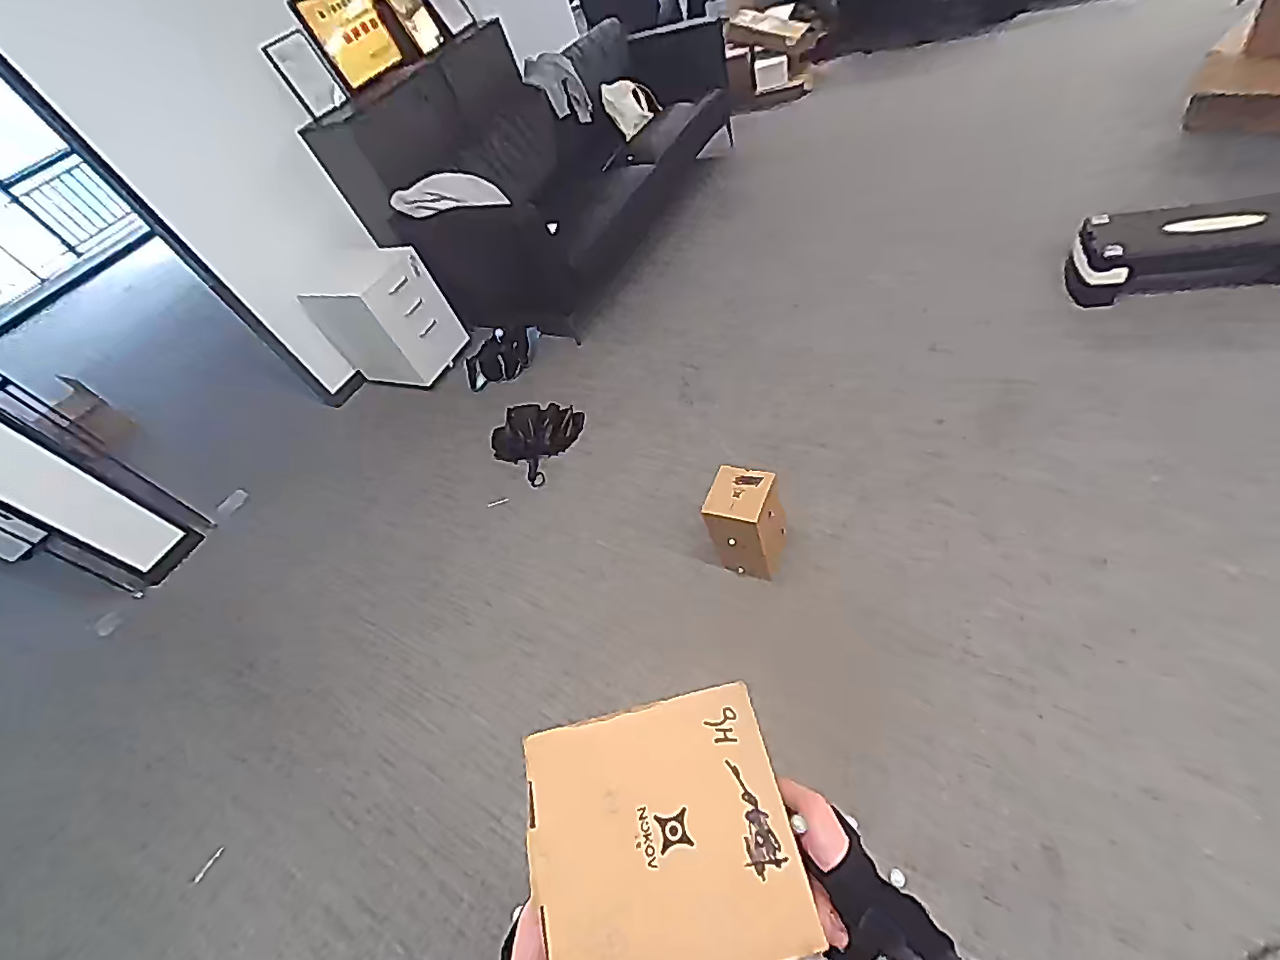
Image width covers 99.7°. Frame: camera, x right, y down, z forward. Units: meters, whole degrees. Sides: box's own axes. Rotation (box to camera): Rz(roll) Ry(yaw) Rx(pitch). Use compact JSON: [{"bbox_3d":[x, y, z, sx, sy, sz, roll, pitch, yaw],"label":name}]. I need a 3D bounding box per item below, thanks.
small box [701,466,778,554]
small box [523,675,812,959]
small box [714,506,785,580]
[{"bbox_3d":[0.297,0.087,1.576,0.168,0.176,0.179,10,57,30],"label":"small box"},{"bbox_3d":[0.017,0.280,0.445,0.179,0.176,0.168,-13,58,-3],"label":"small box"},{"bbox_3d":[0.351,0.184,1.698,0.168,0.176,0.179,10,58,30],"label":"small box"}]
